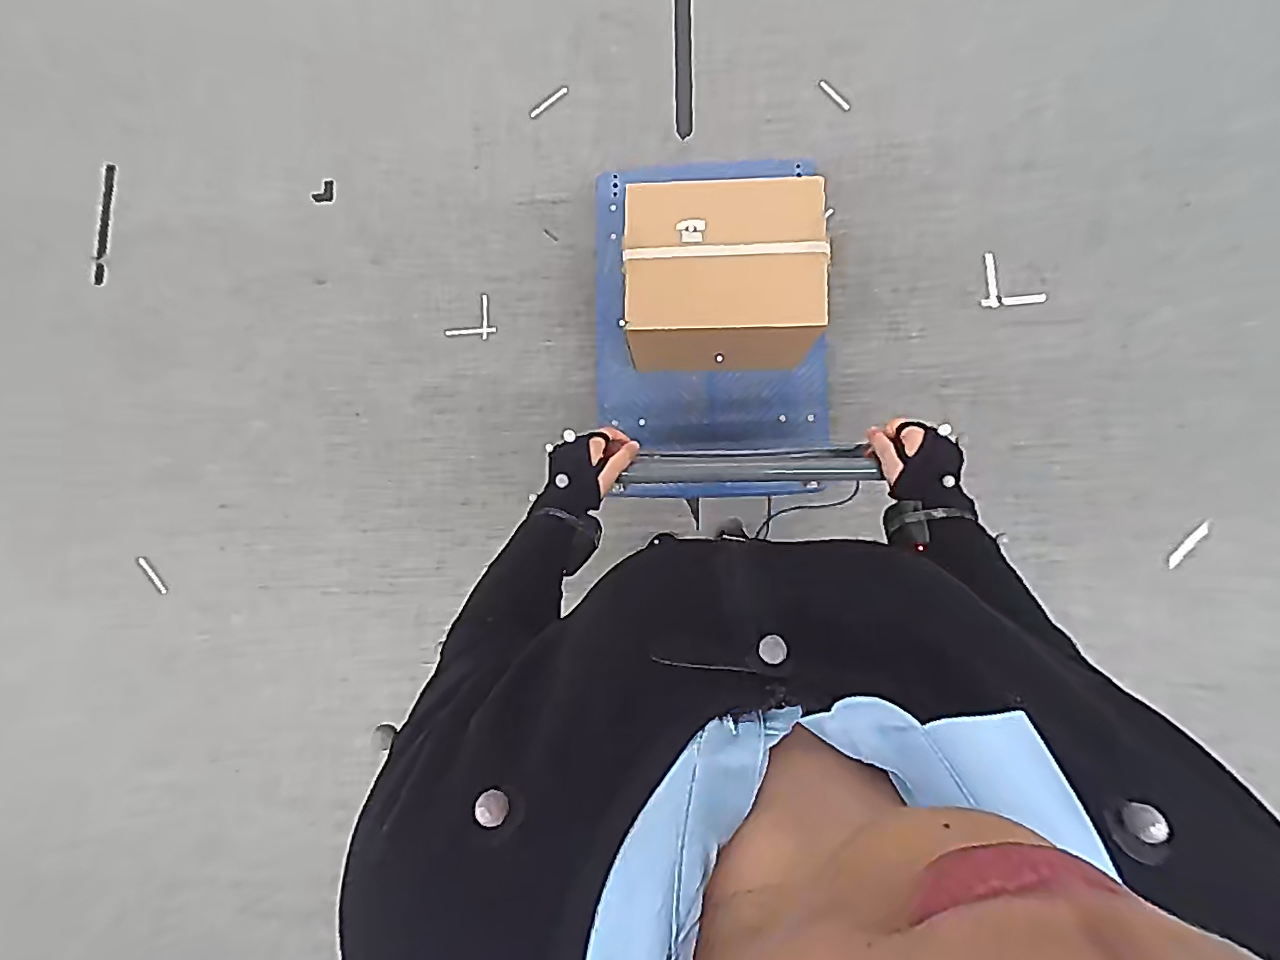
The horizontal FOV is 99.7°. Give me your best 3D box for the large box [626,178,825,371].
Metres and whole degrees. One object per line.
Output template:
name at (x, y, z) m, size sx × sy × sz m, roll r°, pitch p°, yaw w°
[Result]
large box at (0.184, -0.448, 1.252) m, size 0.408 × 0.320 × 0.320 m, roll -1°, pitch 84°, yaw 5°
